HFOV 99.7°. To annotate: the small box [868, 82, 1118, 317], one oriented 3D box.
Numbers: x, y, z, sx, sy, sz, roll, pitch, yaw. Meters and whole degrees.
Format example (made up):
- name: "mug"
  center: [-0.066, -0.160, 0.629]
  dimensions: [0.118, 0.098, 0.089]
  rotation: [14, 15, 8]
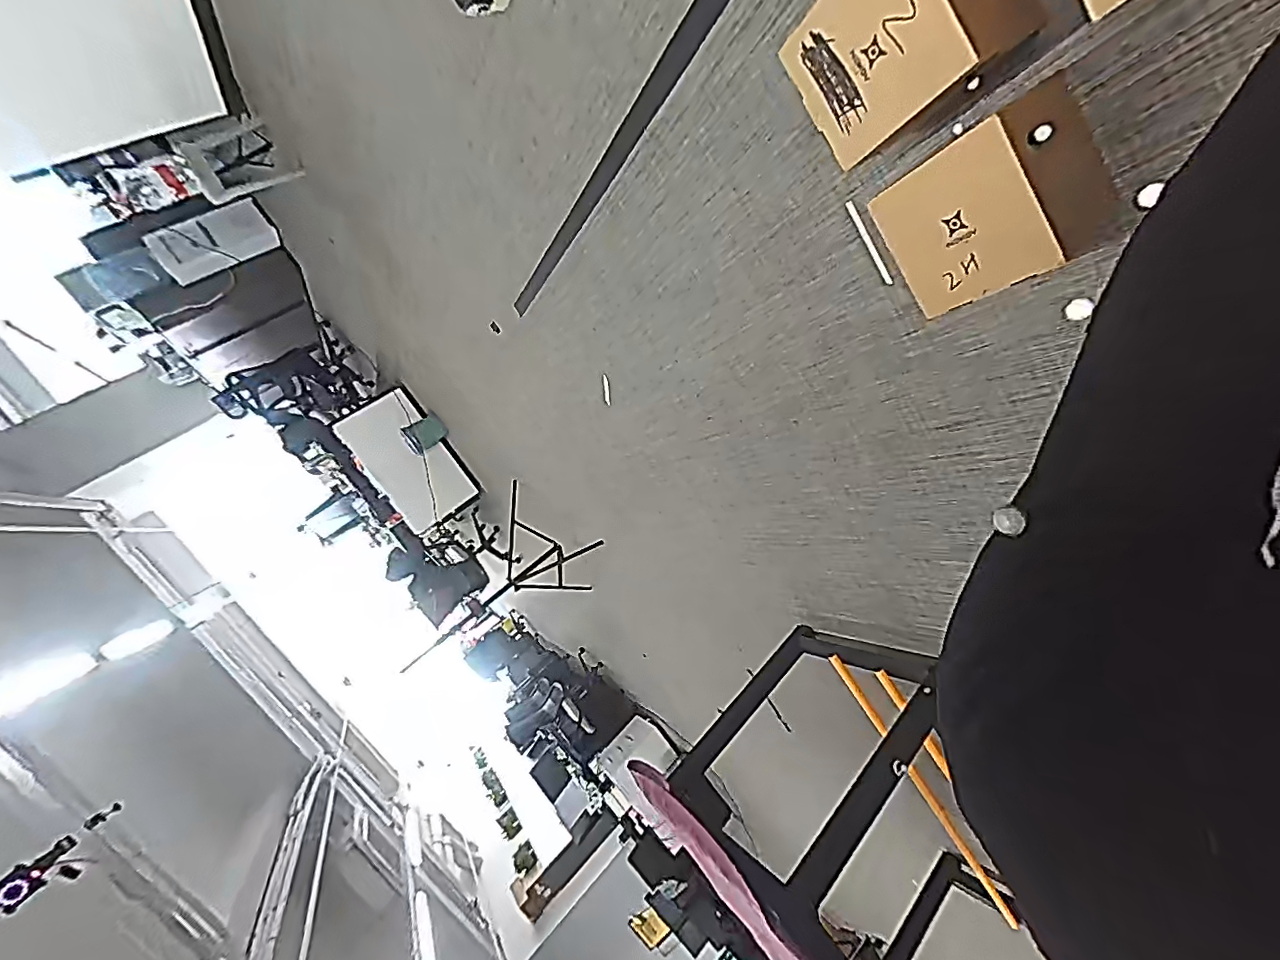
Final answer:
- name: "small box"
  center: [0.422, -0.335, 0.651]
  dimensions: [0.179, 0.176, 0.168]
  rotation: [55, 156, -10]
